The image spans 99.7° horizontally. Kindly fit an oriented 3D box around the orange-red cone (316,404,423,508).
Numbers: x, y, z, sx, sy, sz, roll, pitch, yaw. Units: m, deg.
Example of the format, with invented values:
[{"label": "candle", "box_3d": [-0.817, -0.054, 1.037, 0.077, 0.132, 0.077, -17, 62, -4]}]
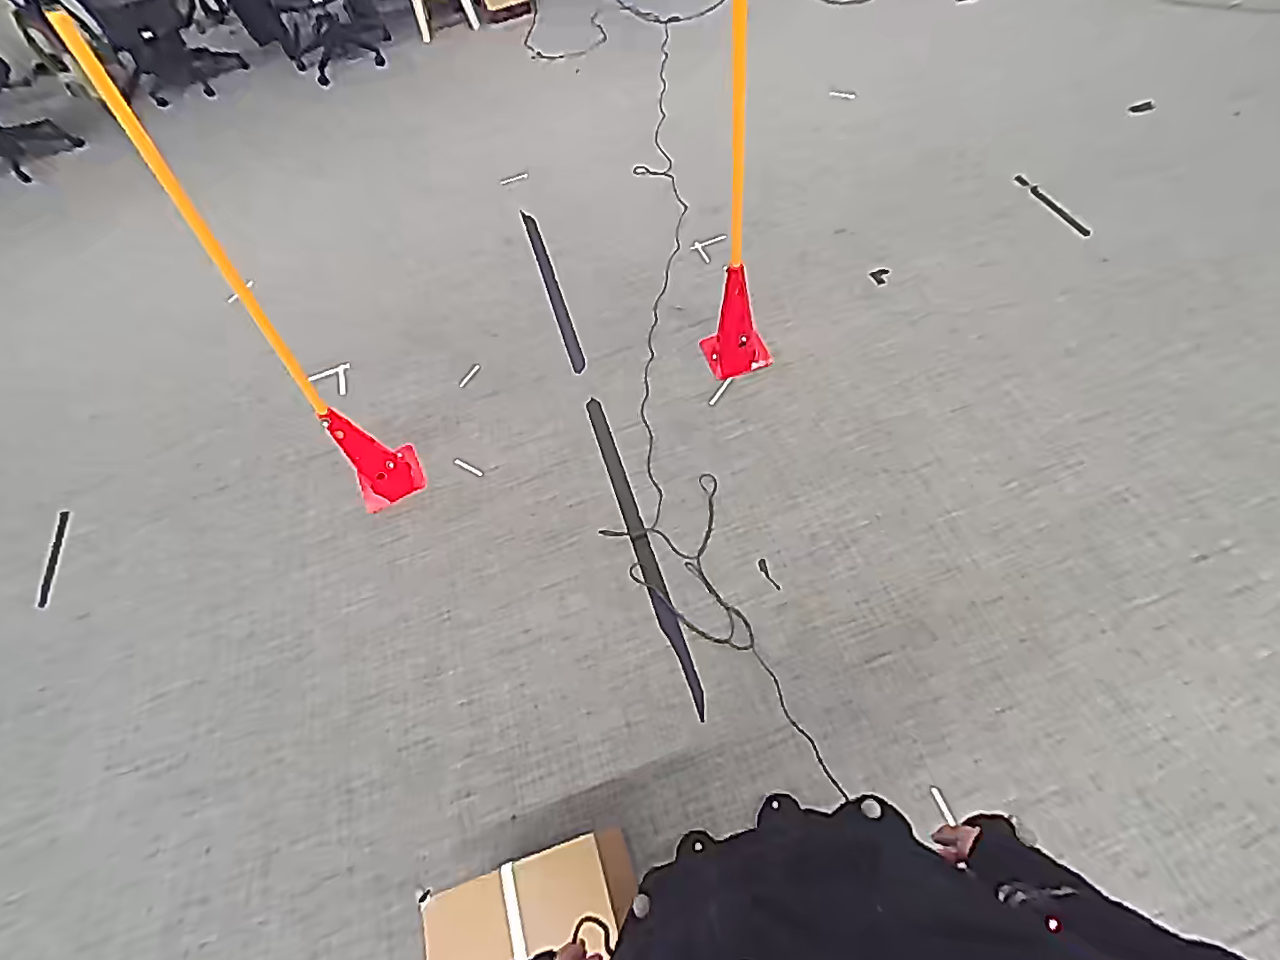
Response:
[{"label": "orange-red cone", "box_3d": [-0.832, -0.101, 1.602, 0.199, 0.360, 0.198, -28, 59, -6]}]
